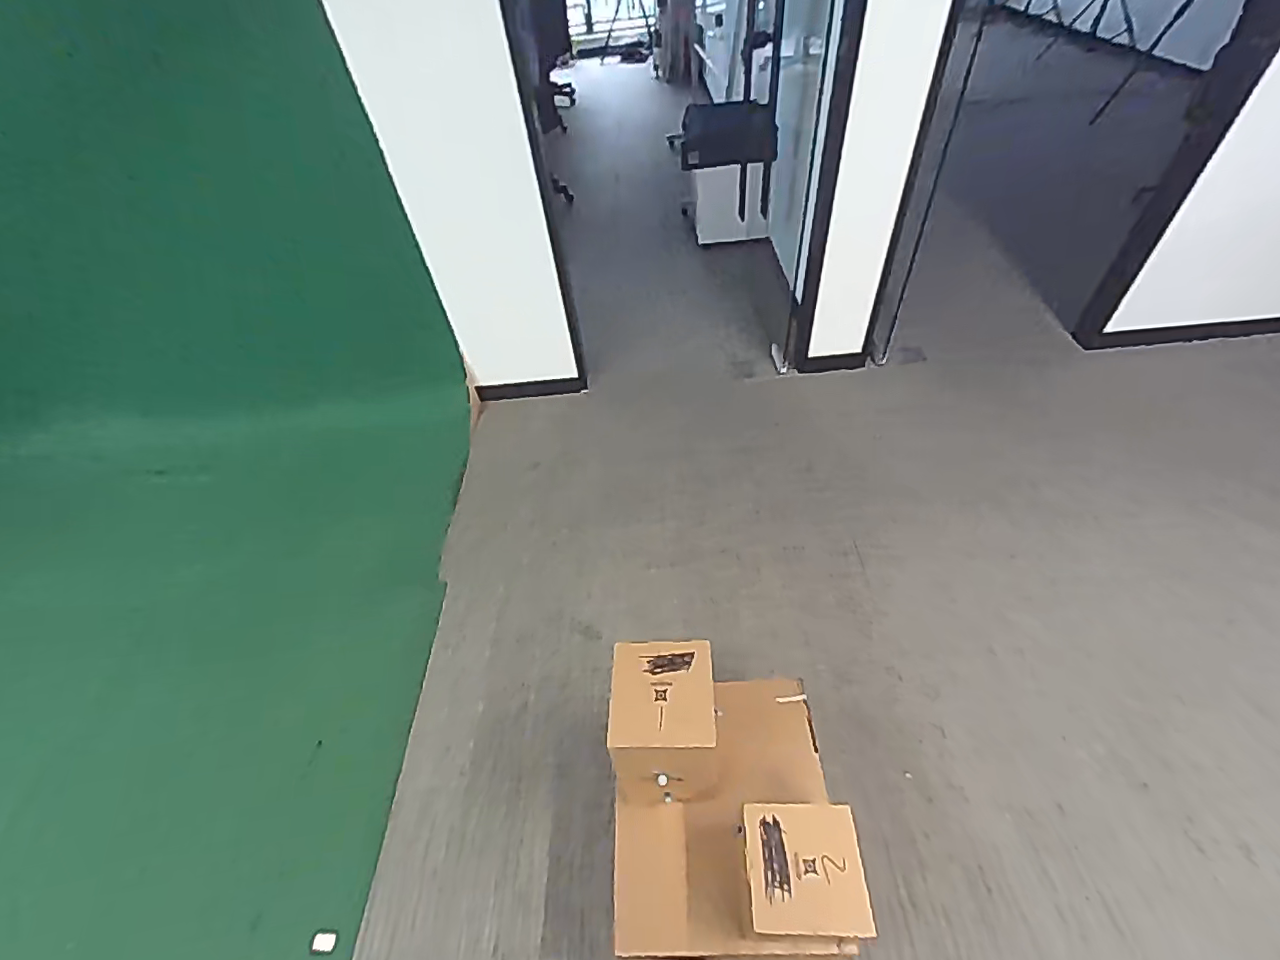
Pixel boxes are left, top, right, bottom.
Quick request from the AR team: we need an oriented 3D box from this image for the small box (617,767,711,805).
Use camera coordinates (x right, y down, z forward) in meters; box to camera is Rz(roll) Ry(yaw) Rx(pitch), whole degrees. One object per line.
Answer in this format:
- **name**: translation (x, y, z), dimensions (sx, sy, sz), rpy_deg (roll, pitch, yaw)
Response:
- **small box**: translation (0.049, 0.503, 1.043), dimensions (0.168, 0.176, 0.179), rpy_deg (-4, 44, 4)

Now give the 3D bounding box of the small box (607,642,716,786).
- **small box**: translation (0.041, 0.396, 0.917), dimensions (0.168, 0.176, 0.179), rpy_deg (-3, 45, 5)
